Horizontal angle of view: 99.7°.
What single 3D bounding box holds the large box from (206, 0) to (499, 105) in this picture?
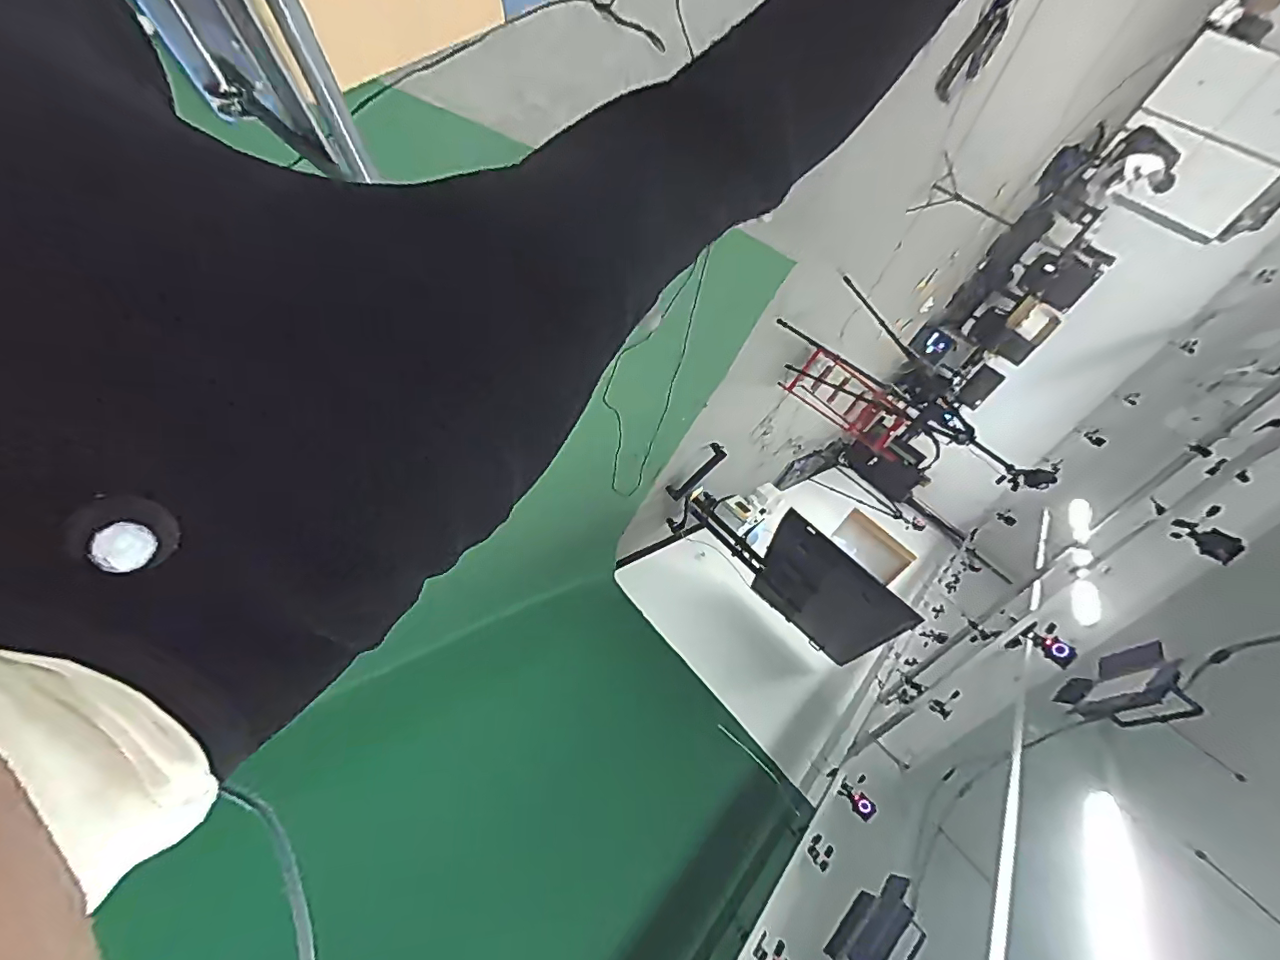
[{"bbox_3d":[-0.509,-0.891,0.858,0.408,0.320,0.320,-39,157,-18],"label":"large box"}]
